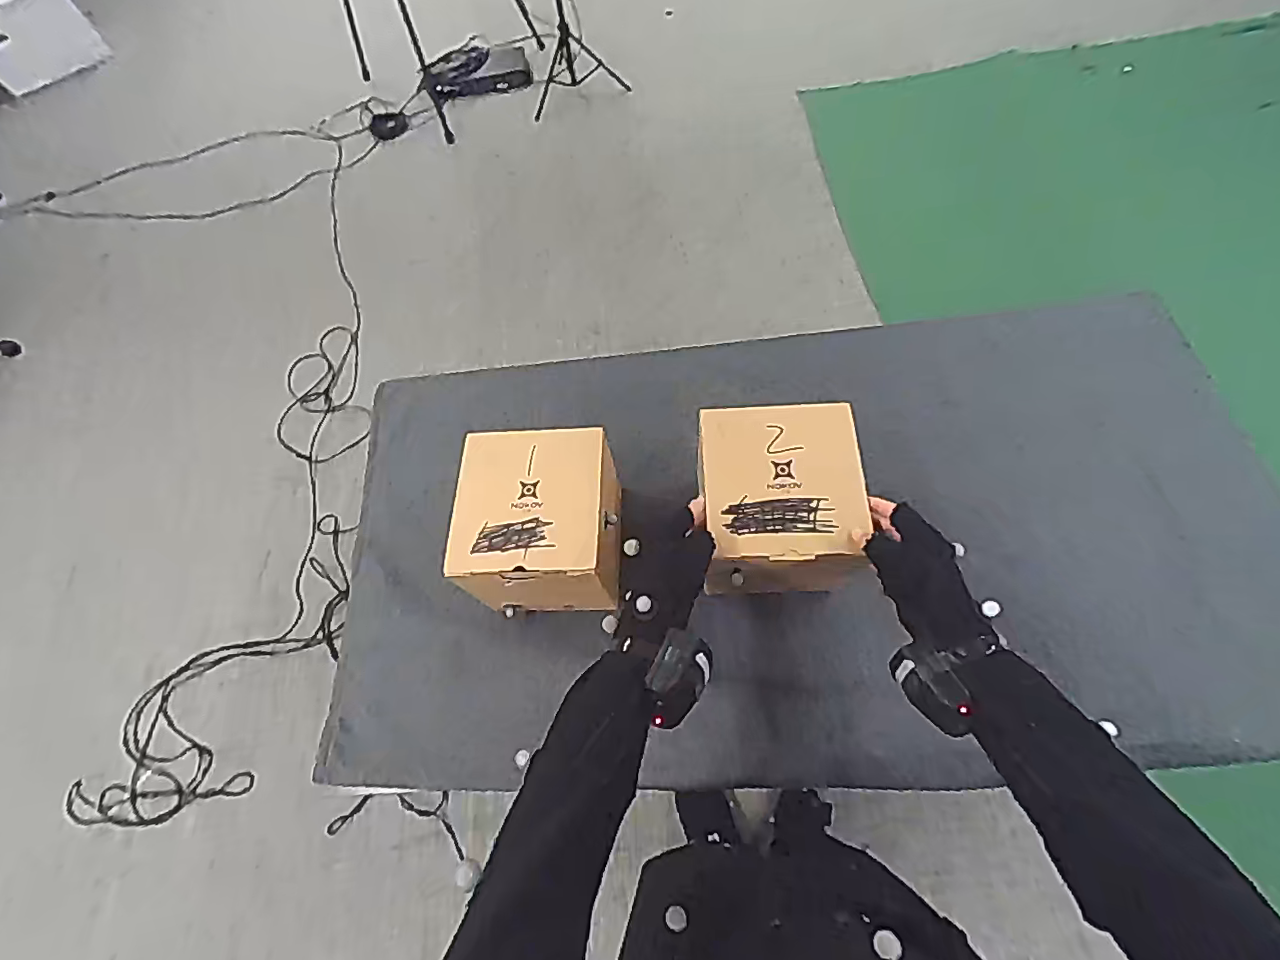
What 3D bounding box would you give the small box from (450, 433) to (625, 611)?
[{"bbox_3d":[-0.111,0.061,0.672,0.168,0.176,0.179,-2,62,6],"label":"small box"}]
